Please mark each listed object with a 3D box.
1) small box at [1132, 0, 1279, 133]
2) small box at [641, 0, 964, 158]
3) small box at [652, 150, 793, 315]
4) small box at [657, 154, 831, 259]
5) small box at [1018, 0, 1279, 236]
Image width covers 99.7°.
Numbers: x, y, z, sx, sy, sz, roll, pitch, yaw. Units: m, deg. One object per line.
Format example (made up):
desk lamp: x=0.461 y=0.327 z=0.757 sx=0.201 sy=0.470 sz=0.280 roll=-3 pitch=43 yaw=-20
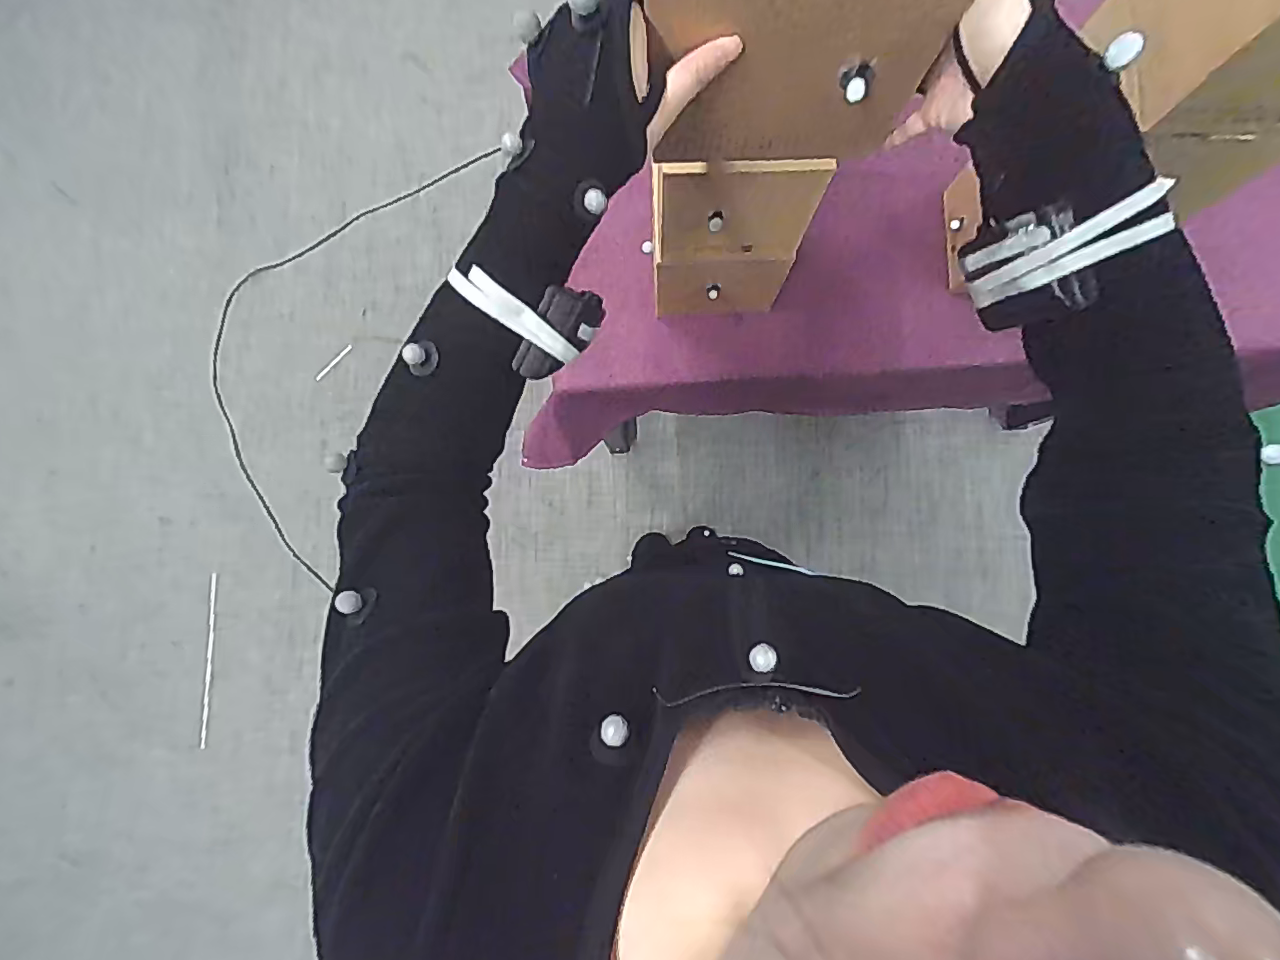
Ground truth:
small box: x=0.539 y=-0.406 z=0.423 sx=0.168 sy=0.176 sz=0.179 roll=2 pitch=83 yaw=2
small box: x=0.091 y=-0.337 z=0.349 sx=0.179 sy=0.176 sz=0.168 roll=1 pitch=88 yaw=3
small box: x=0.105 y=-0.343 z=0.761 sx=0.179 sy=0.176 sz=0.168 roll=-1 pitch=83 yaw=2
small box: x=0.103 y=-0.364 z=0.599 sx=0.168 sy=0.176 sz=0.179 roll=0 pitch=82 yaw=2
small box: x=0.546 y=-0.389 z=0.587 sx=0.168 sy=0.176 sz=0.179 roll=3 pitch=84 yaw=2
